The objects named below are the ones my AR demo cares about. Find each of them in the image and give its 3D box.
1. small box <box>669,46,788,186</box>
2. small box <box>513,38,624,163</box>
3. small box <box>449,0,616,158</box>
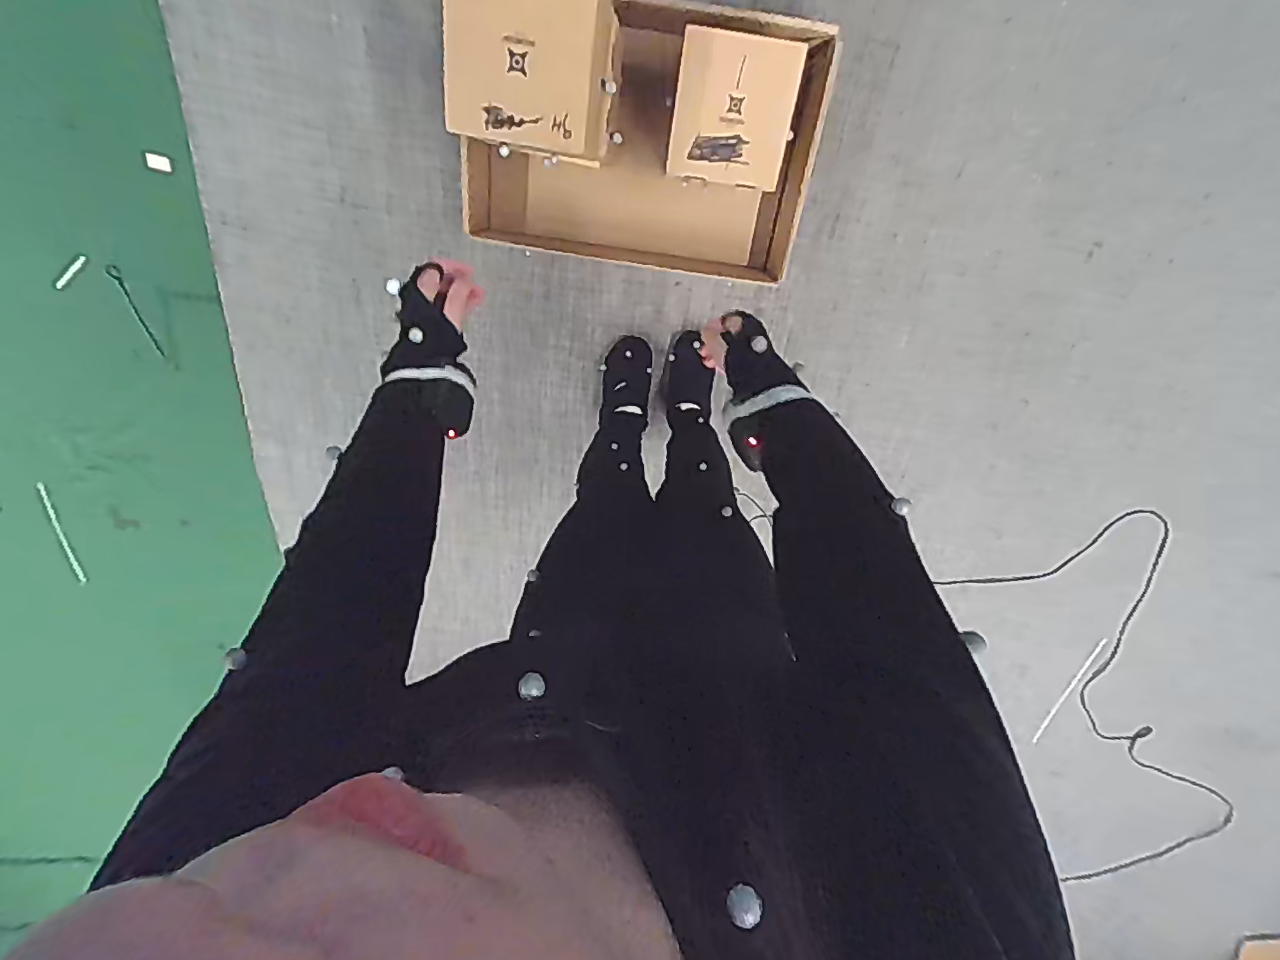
[{"bbox_3d":[0.147,-0.633,0.958,0.168,0.176,0.179,8,120,-1],"label":"small box"},{"bbox_3d":[-0.124,-0.672,0.951,0.168,0.176,0.179,11,119,-4],"label":"small box"},{"bbox_3d":[-0.125,-0.513,0.663,0.168,0.176,0.179,10,119,-3],"label":"small box"}]
